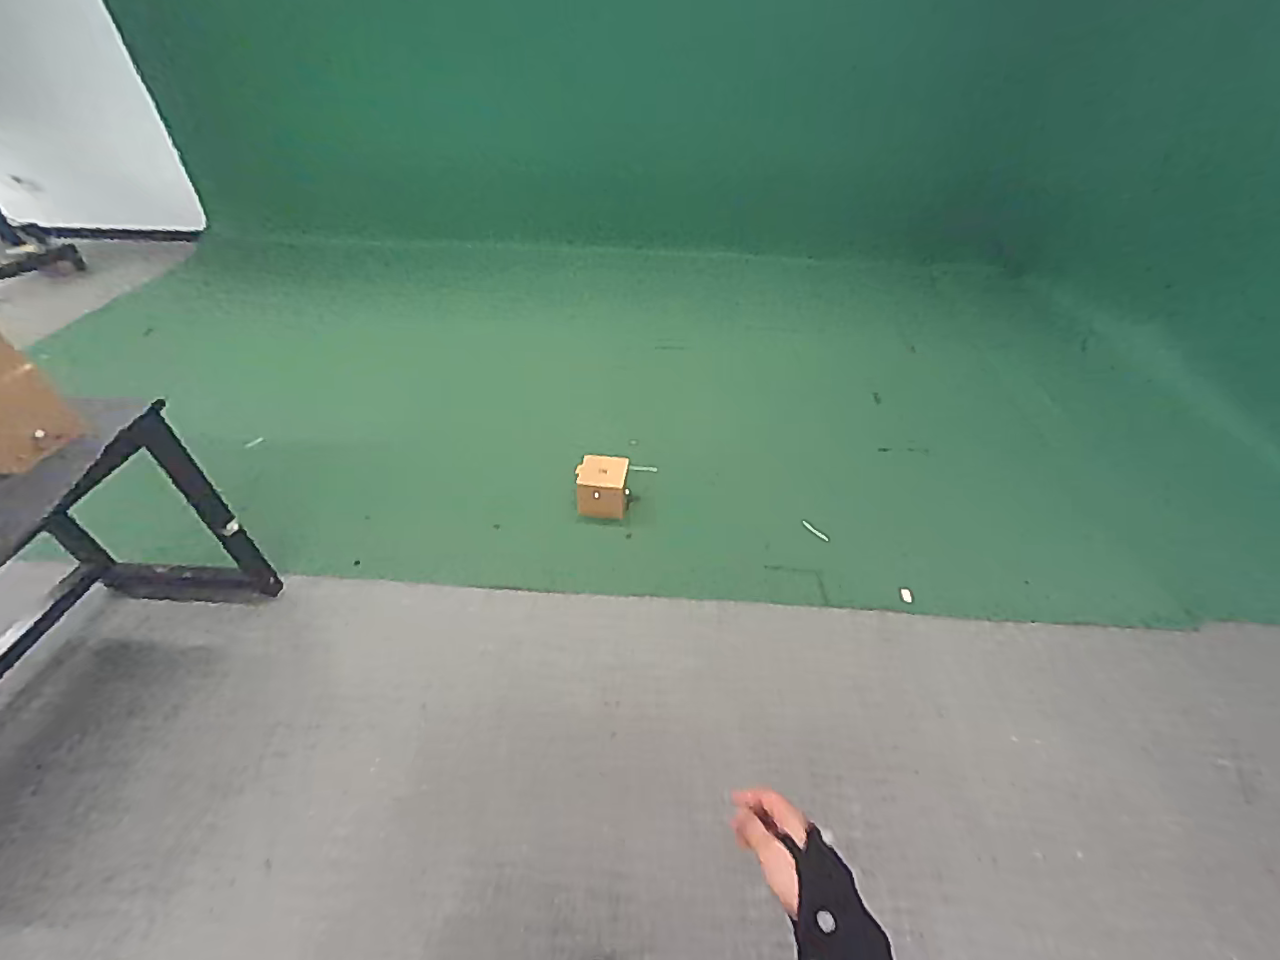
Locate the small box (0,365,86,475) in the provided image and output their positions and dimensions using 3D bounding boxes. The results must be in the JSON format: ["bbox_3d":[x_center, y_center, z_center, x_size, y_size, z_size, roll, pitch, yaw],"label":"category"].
[{"bbox_3d":[-1.348,-0.127,1.127,0.179,0.176,0.168,5,43,8],"label":"small box"}]

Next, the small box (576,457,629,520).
[{"bbox_3d":[-0.138,0.036,2.064,0.179,0.176,0.168,5,43,6],"label":"small box"}]

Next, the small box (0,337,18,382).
[{"bbox_3d":[-1.353,-0.240,1.010,0.168,0.176,0.179,-1,43,3],"label":"small box"}]
